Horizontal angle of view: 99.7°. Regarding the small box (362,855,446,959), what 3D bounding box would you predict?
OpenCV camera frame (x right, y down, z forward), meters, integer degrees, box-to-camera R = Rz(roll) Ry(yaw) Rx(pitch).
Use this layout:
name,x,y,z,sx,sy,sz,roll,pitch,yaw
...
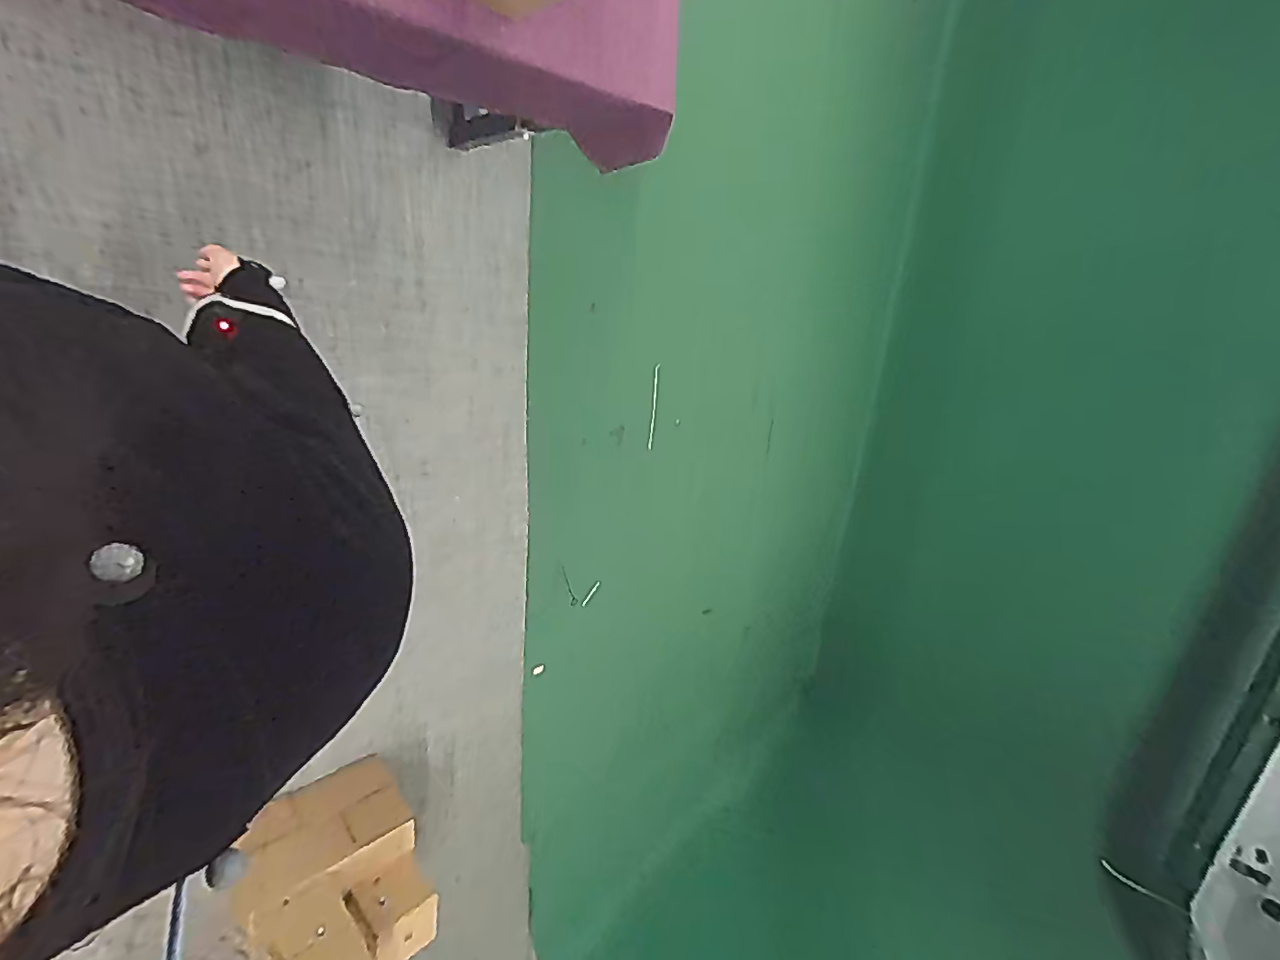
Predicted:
name,x,y,z,sx,sy,sz,roll,pitch,yaw
small box,-0.660,1.197,1.507,0.168,0.176,0.179,-10,115,-46

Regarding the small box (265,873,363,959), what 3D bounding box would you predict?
name,x,y,z,sx,sy,sz,roll,pitch,yaw
small box,-0.794,1.122,1.316,0.168,0.176,0.179,-7,112,-46
